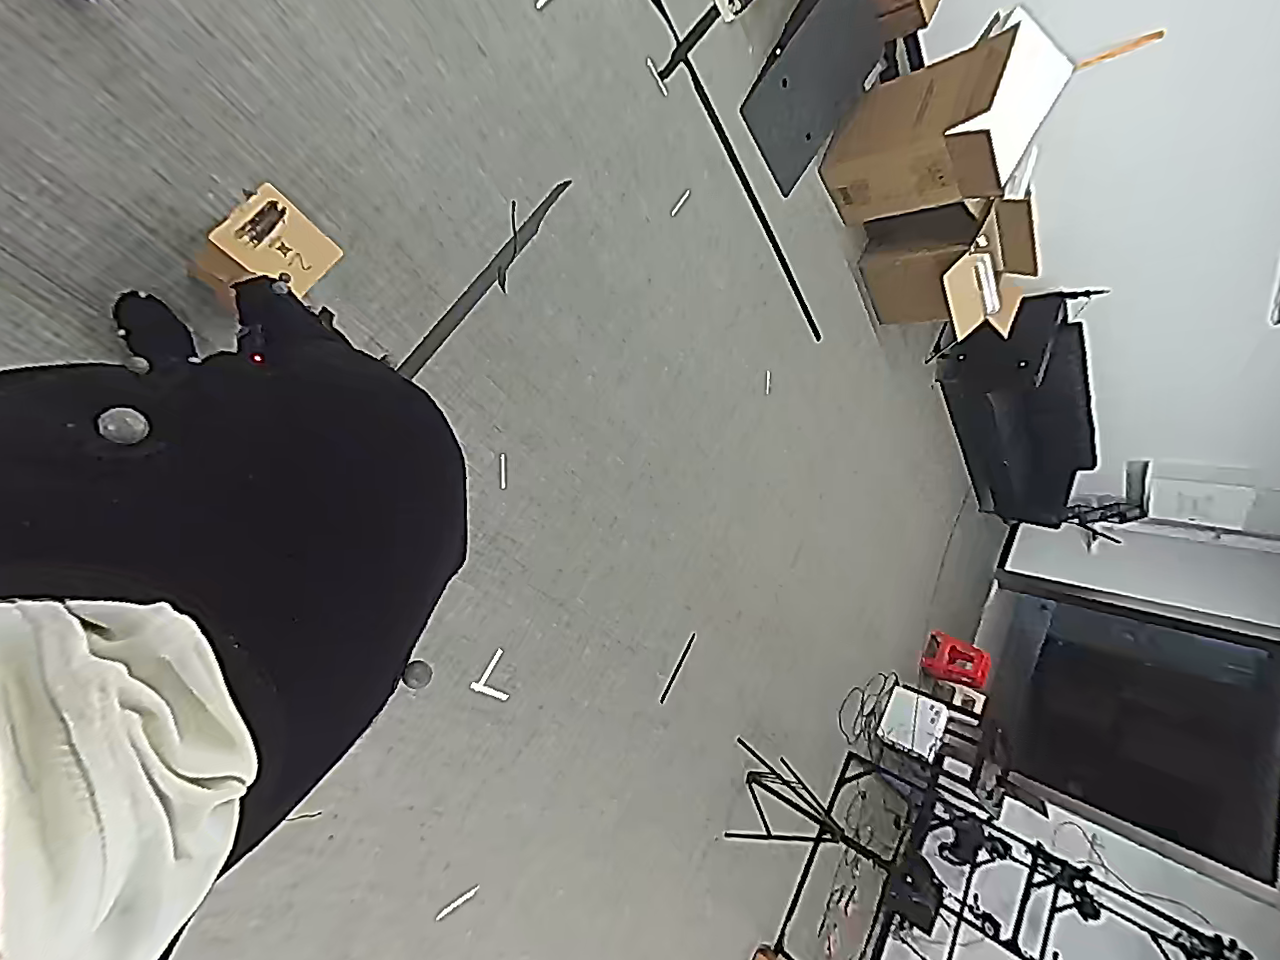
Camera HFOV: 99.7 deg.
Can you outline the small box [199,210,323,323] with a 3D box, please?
[{"bbox_3d":[-0.889,-0.489,1.263,0.168,0.176,0.179,43,69,-38],"label":"small box"}]
